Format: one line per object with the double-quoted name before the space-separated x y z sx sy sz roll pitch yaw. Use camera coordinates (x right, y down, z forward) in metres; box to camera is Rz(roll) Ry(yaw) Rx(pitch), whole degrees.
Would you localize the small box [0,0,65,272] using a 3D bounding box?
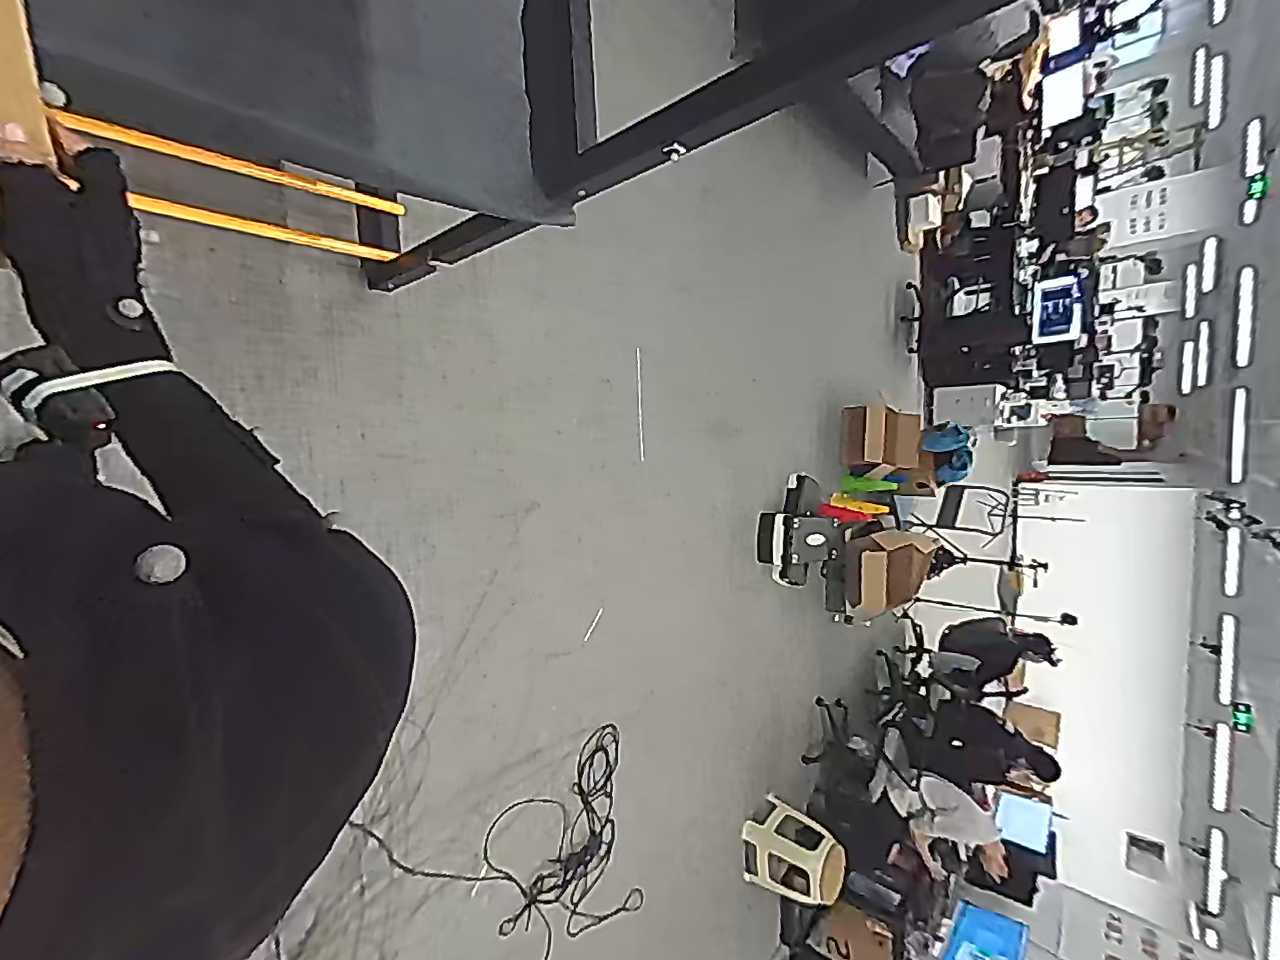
"small box" -0.528 -0.272 0.361 0.168 0.176 0.179 -11 85 -53
